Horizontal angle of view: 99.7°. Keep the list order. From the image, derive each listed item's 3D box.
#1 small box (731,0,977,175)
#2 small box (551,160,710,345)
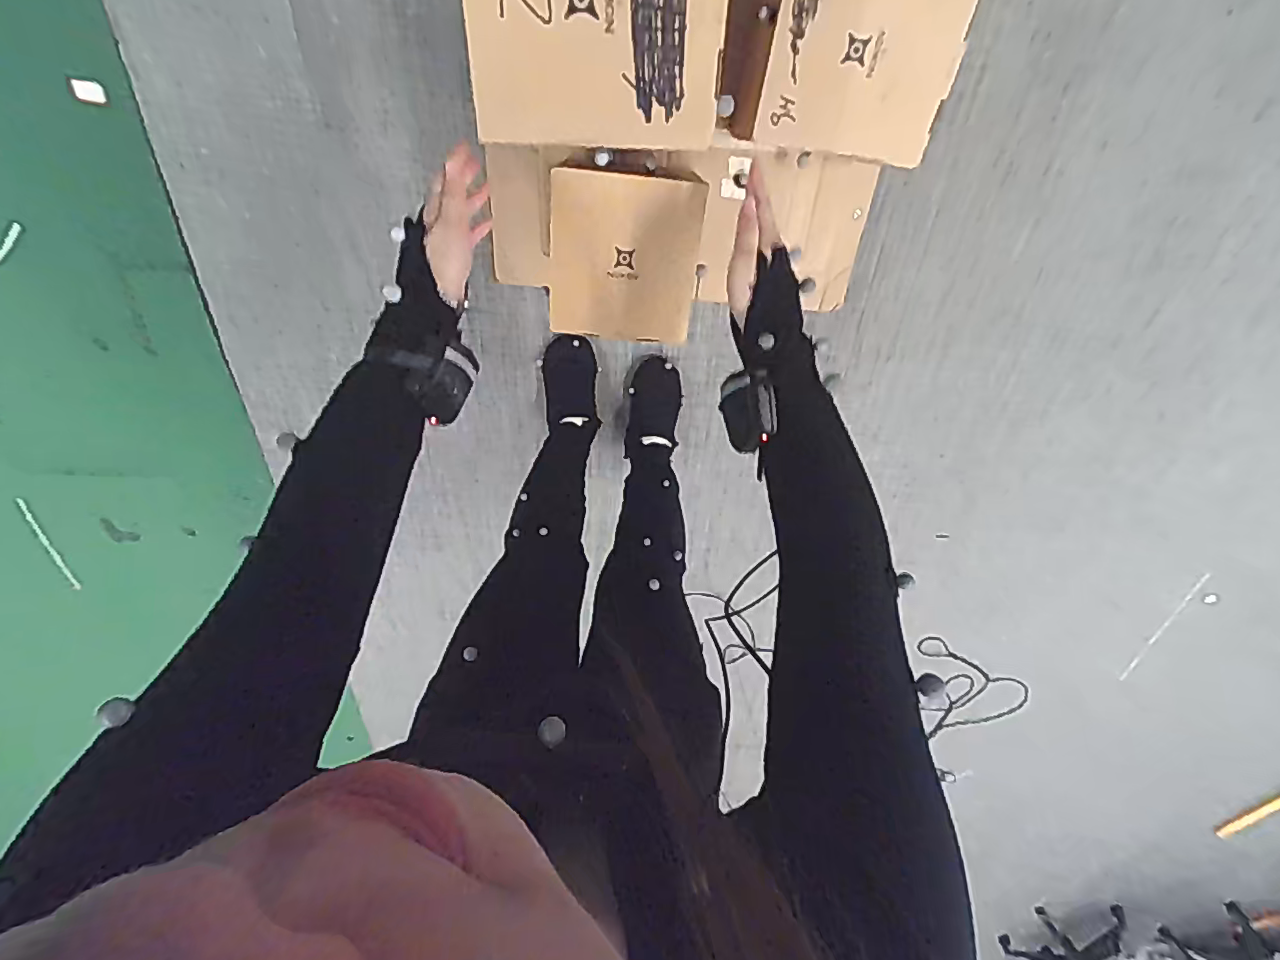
[{"bbox_3d":[0.207,-0.435,0.570,0.179,0.176,0.168,8,123,-3],"label":"small box"},{"bbox_3d":[-0.019,-0.285,0.667,0.168,0.176,0.179,4,125,-4],"label":"small box"}]
